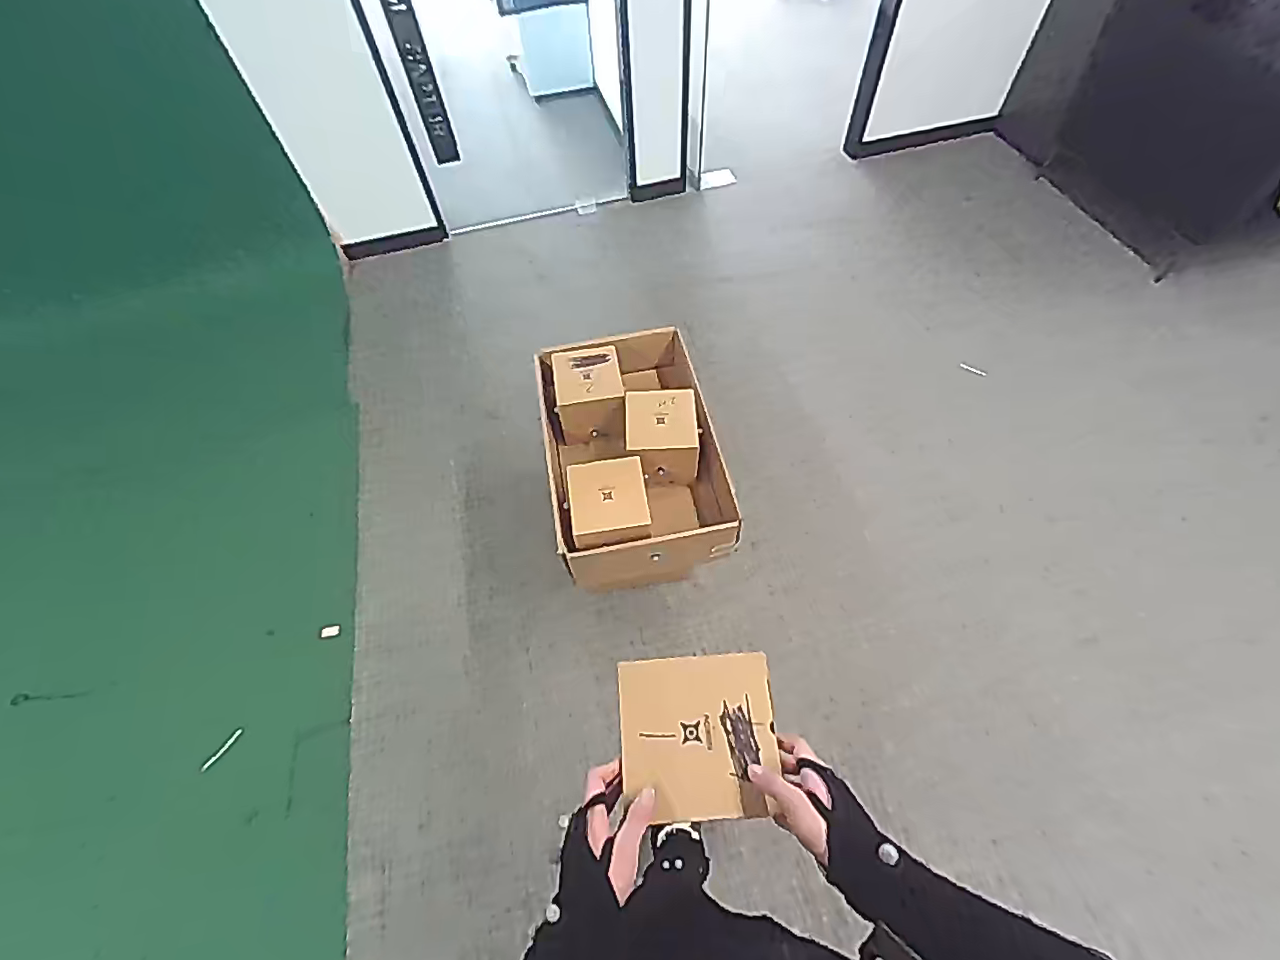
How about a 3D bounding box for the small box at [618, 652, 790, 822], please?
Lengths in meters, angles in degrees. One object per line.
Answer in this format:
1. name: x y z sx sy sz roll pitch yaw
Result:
1. small box: 0.065 0.310 0.658 0.179 0.176 0.168 -3 62 0
